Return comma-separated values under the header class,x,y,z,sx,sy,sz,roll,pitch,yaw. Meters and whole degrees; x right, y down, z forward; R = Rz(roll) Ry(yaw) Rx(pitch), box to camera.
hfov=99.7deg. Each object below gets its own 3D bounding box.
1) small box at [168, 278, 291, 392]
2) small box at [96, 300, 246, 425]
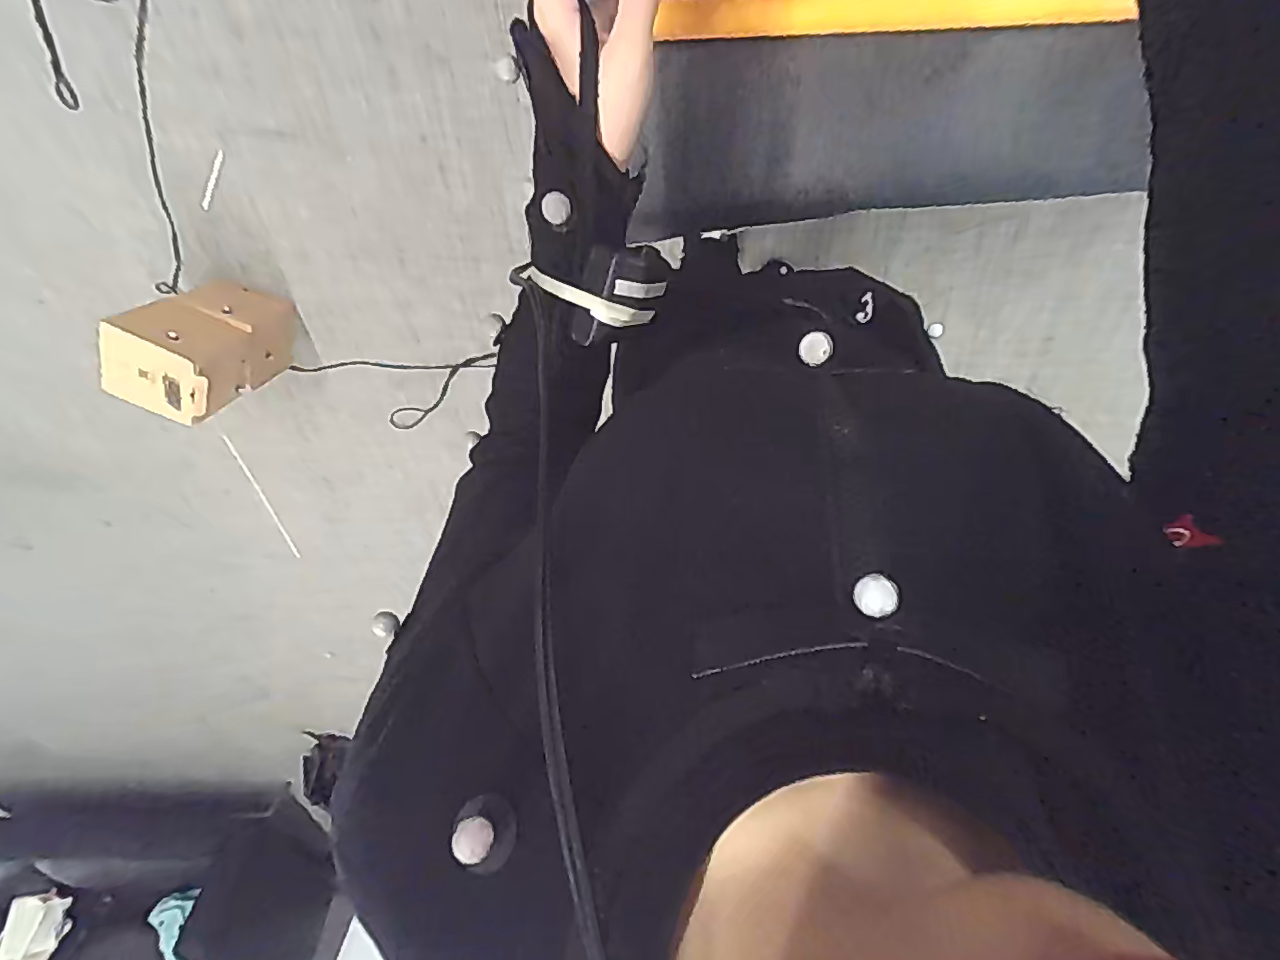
class,x,y,z,sx,sy,sz,roll,pitch,yaw
small box,-0.949,-0.343,1.266,0.168,0.176,0.179,21,123,-10
small box,-0.968,-0.251,1.130,0.179,0.176,0.168,26,121,-13
